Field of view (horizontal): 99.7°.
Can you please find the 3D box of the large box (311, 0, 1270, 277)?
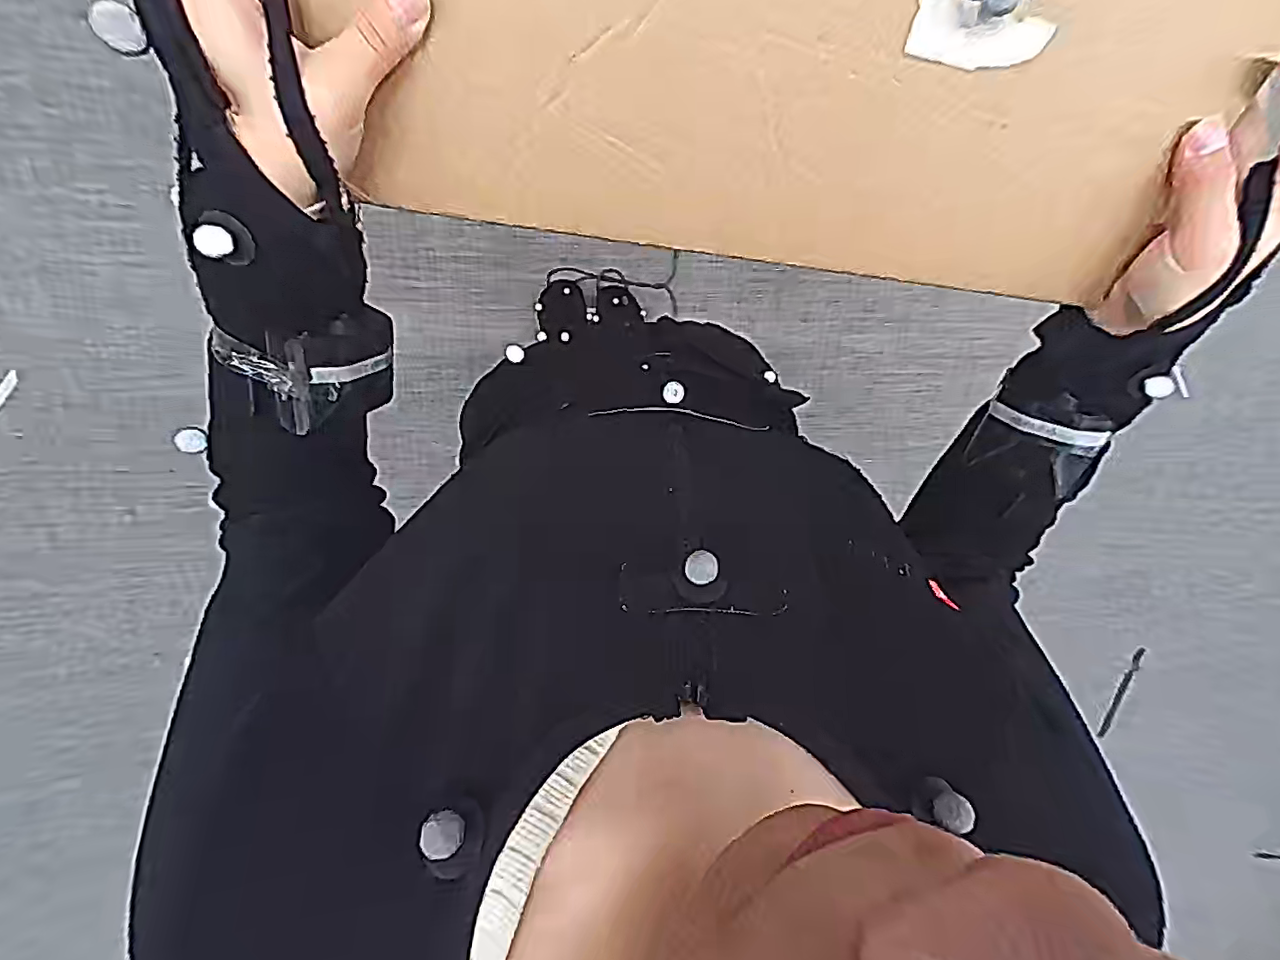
[{"bbox_3d":[0.066,-0.338,0.303,0.408,0.320,0.320,5,130,-8],"label":"large box"}]
